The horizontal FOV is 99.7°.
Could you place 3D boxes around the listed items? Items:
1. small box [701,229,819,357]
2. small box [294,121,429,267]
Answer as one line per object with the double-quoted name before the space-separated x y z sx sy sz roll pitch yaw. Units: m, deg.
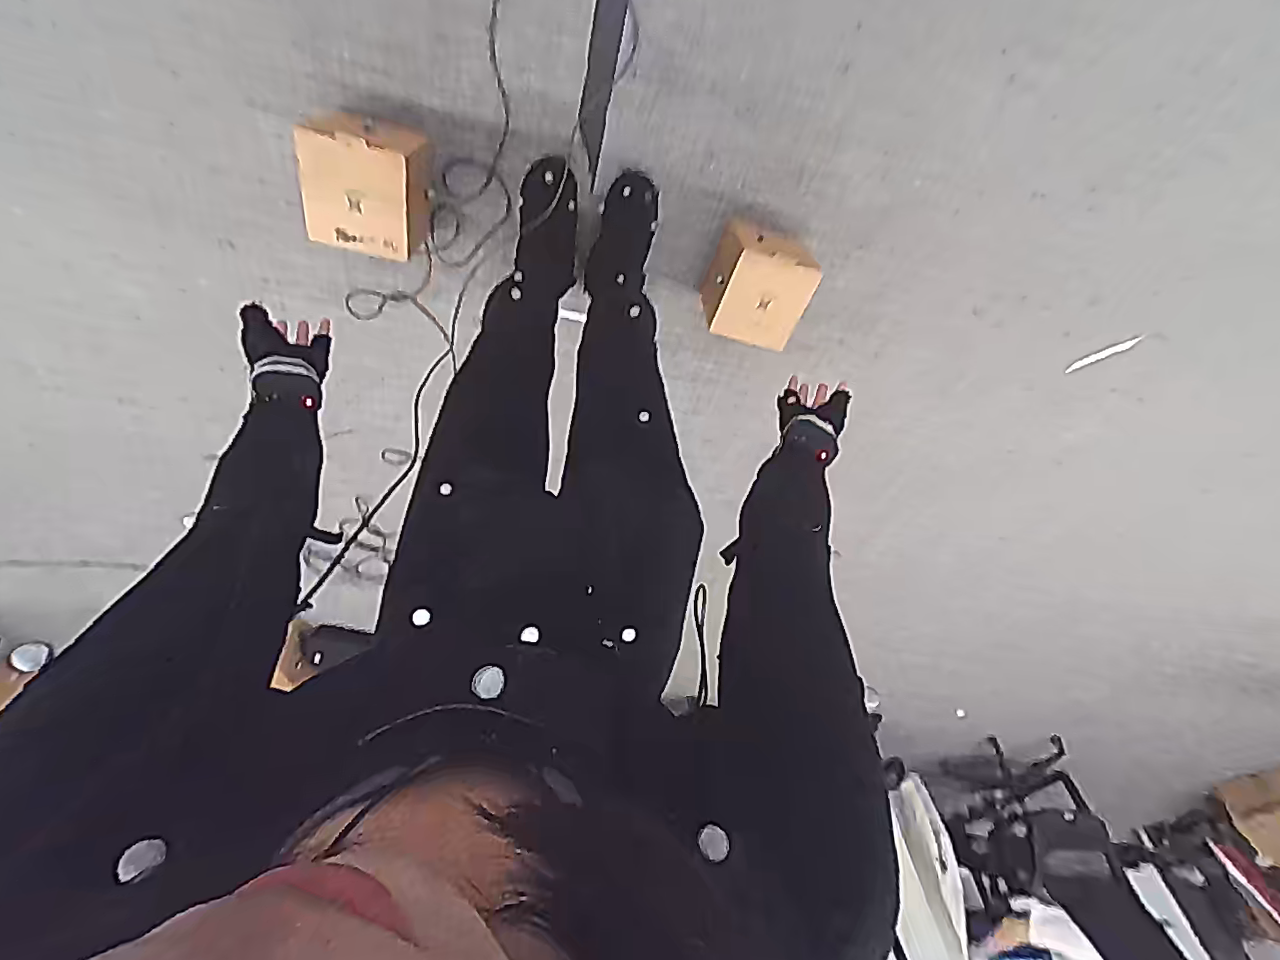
"small box" 0.231 -0.384 1.100 0.168 0.176 0.179 12 131 -12
"small box" -0.478 -0.507 0.952 0.168 0.176 0.179 10 128 -12
